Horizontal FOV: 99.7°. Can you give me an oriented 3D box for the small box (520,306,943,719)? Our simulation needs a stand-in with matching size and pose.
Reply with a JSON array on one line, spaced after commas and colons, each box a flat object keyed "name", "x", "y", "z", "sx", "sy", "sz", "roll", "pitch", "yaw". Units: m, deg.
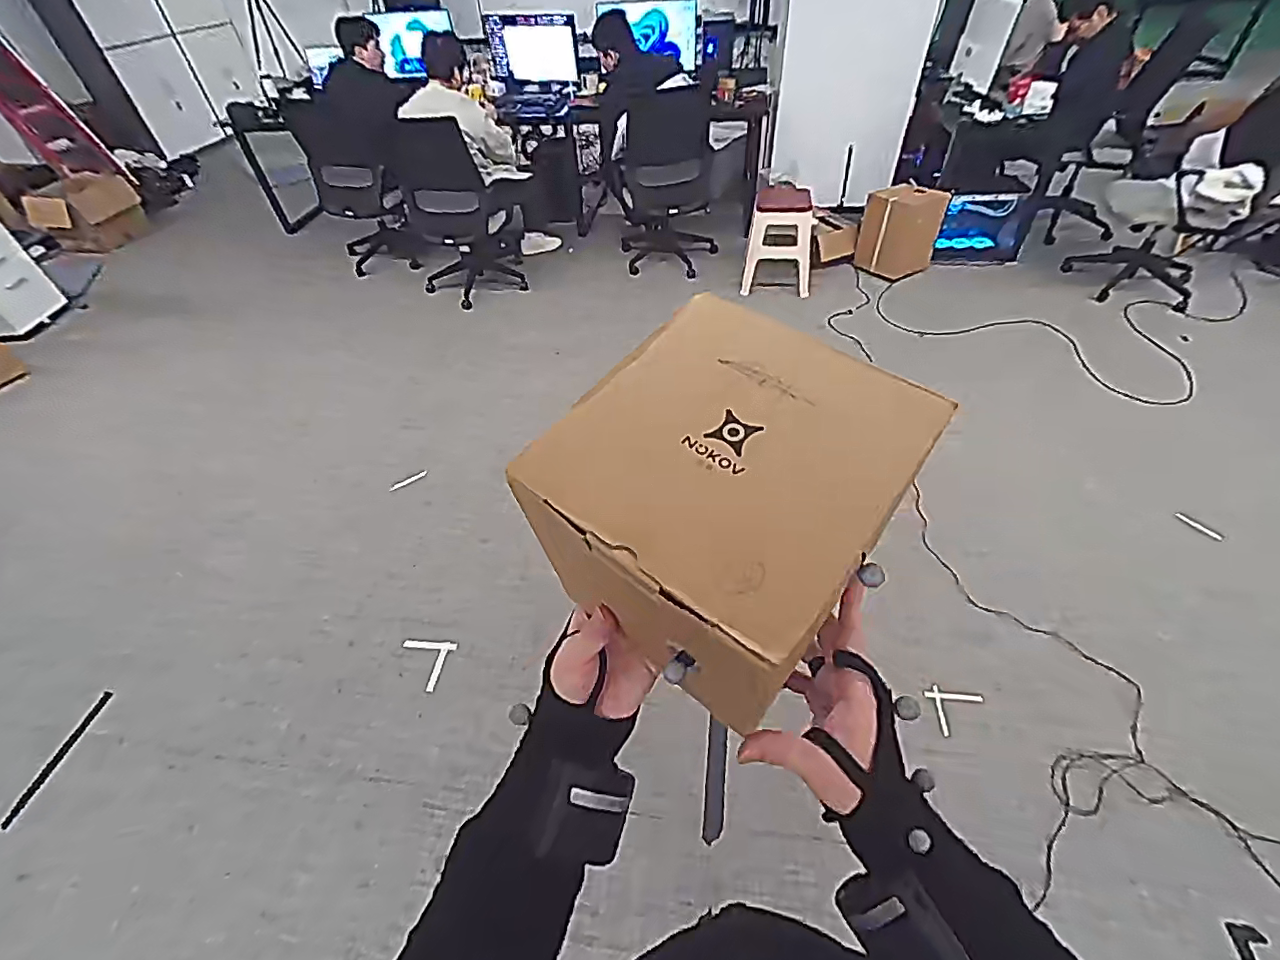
[{"name": "small box", "x": 0.056, "y": 0.027, "z": 0.357, "sx": 0.168, "sy": 0.176, "sz": 0.179, "roll": 32, "pitch": 64, "yaw": 23}]
